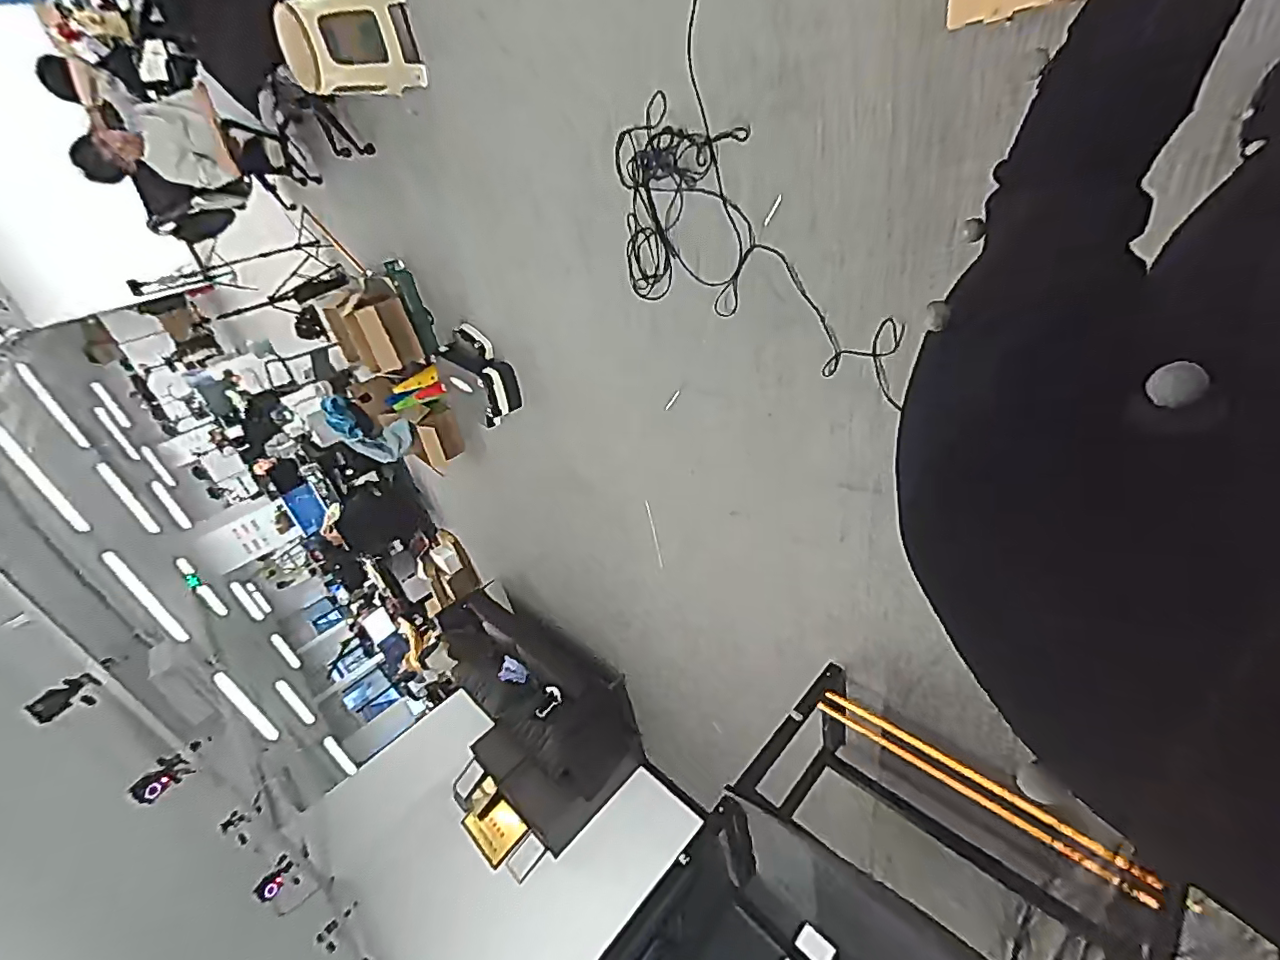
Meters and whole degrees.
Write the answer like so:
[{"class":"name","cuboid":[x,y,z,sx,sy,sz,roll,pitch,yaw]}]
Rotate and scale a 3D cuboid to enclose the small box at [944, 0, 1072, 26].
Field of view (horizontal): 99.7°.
[{"class":"small box","cuboid":[0.653,-0.912,0.931,0.168,0.176,0.179,22,135,42]}]
